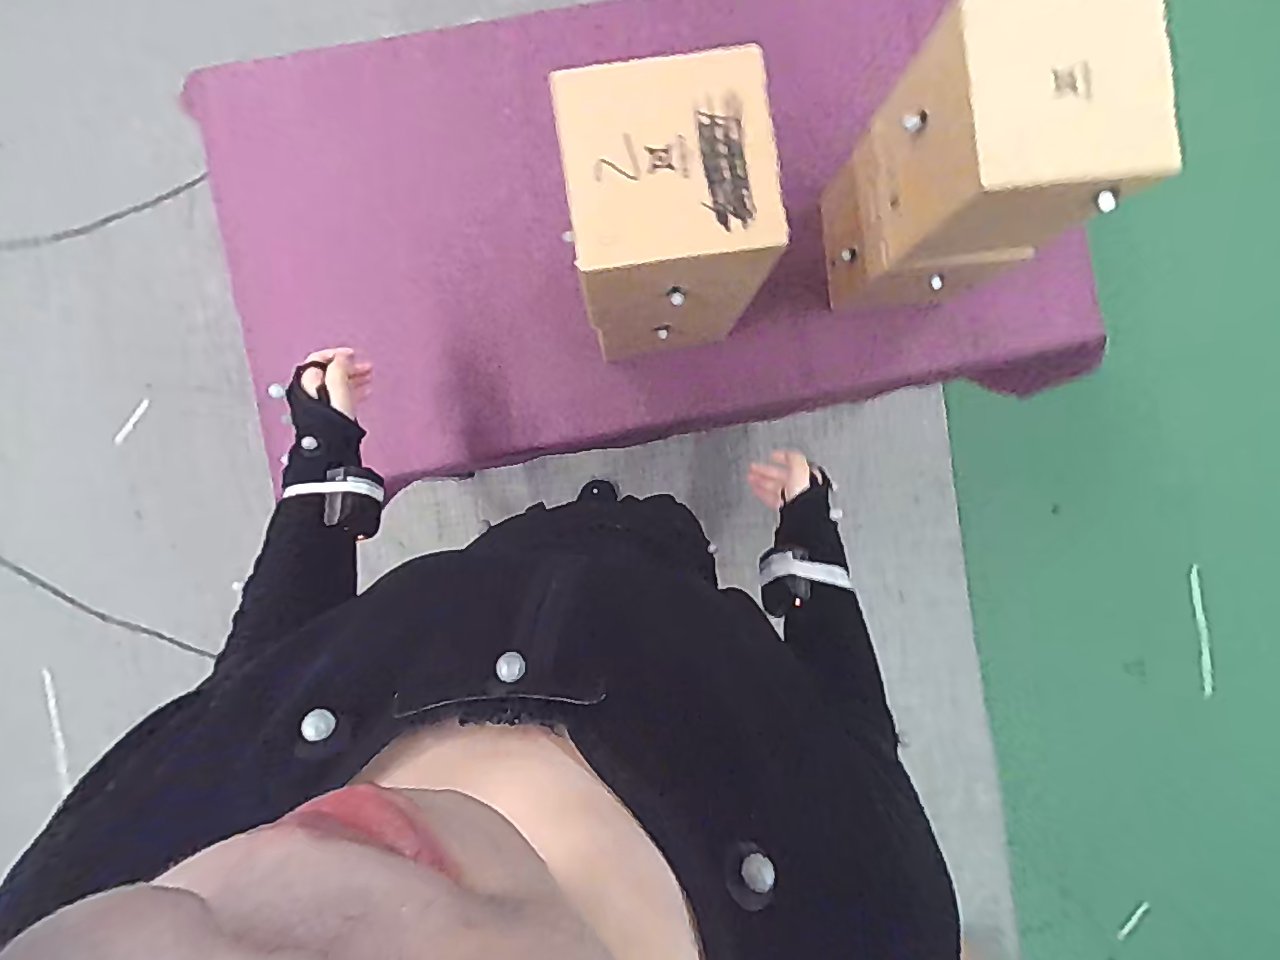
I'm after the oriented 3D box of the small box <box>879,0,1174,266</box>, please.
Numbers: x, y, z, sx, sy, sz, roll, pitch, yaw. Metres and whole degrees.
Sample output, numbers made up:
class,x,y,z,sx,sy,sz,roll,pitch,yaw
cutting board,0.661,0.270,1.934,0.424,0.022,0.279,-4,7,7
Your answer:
class,x,y,z,sx,sy,sz,roll,pitch,yaw
small box,0.357,-0.328,0.536,0.179,0.176,0.168,-6,91,-2

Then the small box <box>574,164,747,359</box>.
class,x,y,z,sx,sy,sz,roll,pitch,yaw
small box,0.022,-0.262,0.688,0.179,0.176,0.168,-10,90,-2

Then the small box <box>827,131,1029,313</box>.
class,x,y,z,sx,sy,sz,roll,pitch,yaw
small box,0.354,-0.323,0.699,0.179,0.176,0.168,-4,91,-2
